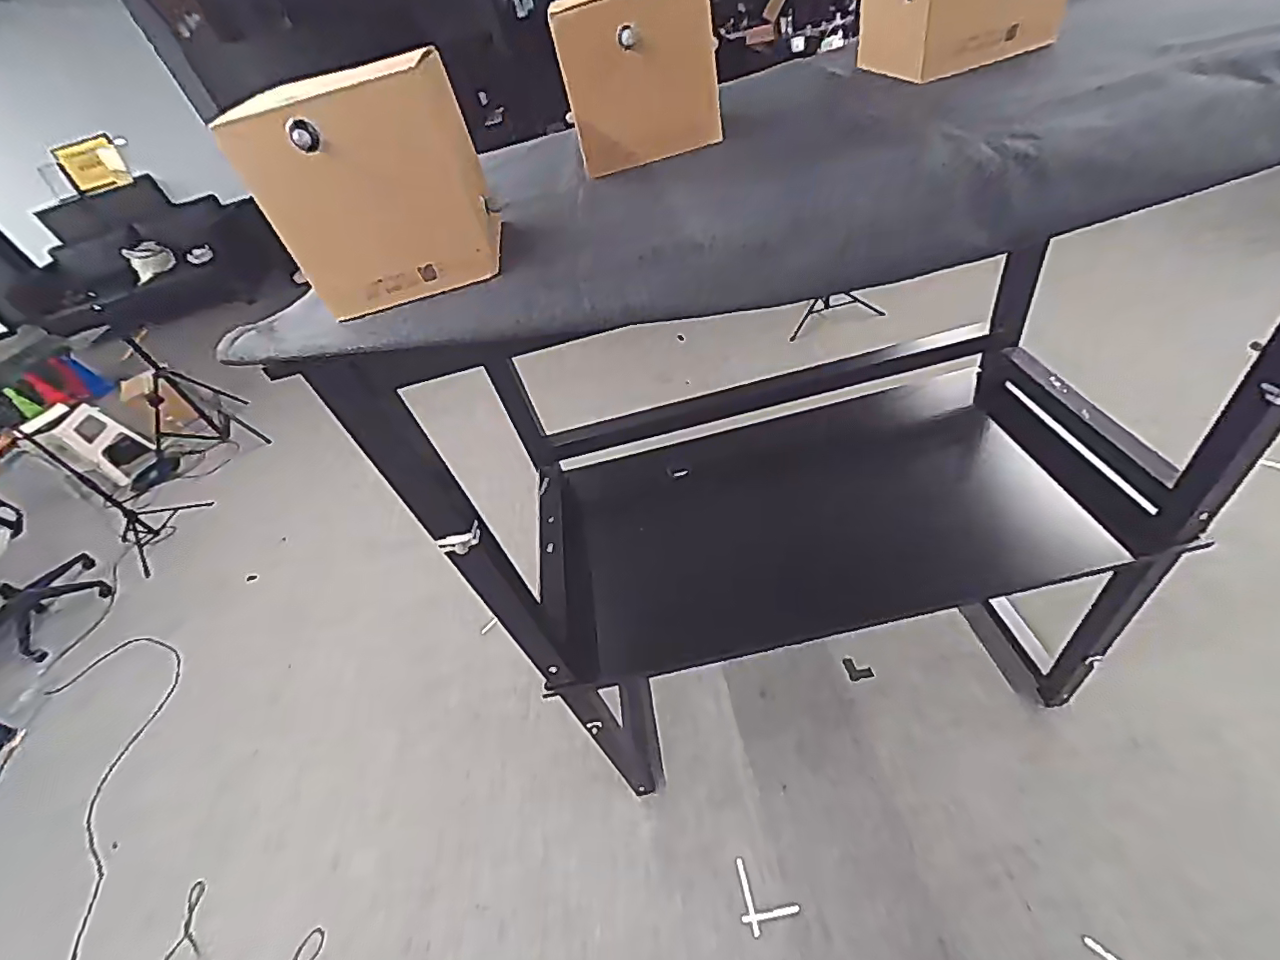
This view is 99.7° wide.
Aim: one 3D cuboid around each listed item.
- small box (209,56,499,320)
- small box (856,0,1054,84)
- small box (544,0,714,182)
[{"bbox_3d":[-0.246,-0.280,0.523,0.168,0.176,0.179,-16,43,1],"label":"small box"},{"bbox_3d":[0.378,-0.606,0.652,0.168,0.176,0.179,-15,44,2],"label":"small box"},{"bbox_3d":[-0.009,-0.505,0.679,0.179,0.176,0.168,-14,44,5],"label":"small box"}]
